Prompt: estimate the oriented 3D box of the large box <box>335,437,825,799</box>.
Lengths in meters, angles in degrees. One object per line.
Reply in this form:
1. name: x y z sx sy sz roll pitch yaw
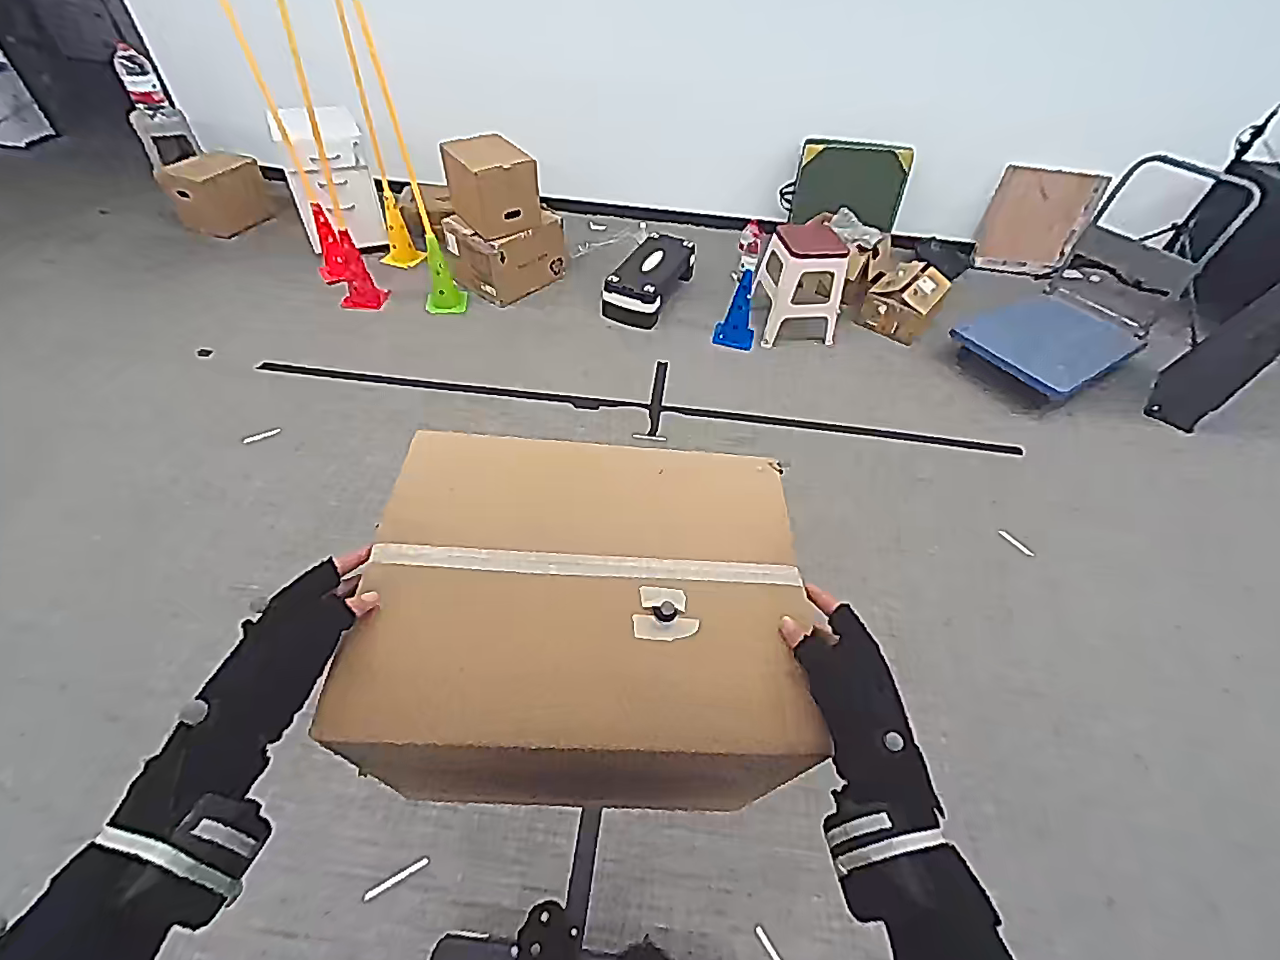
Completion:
1. large box: -0.059 0.177 0.639 0.408 0.320 0.320 5 52 -5
